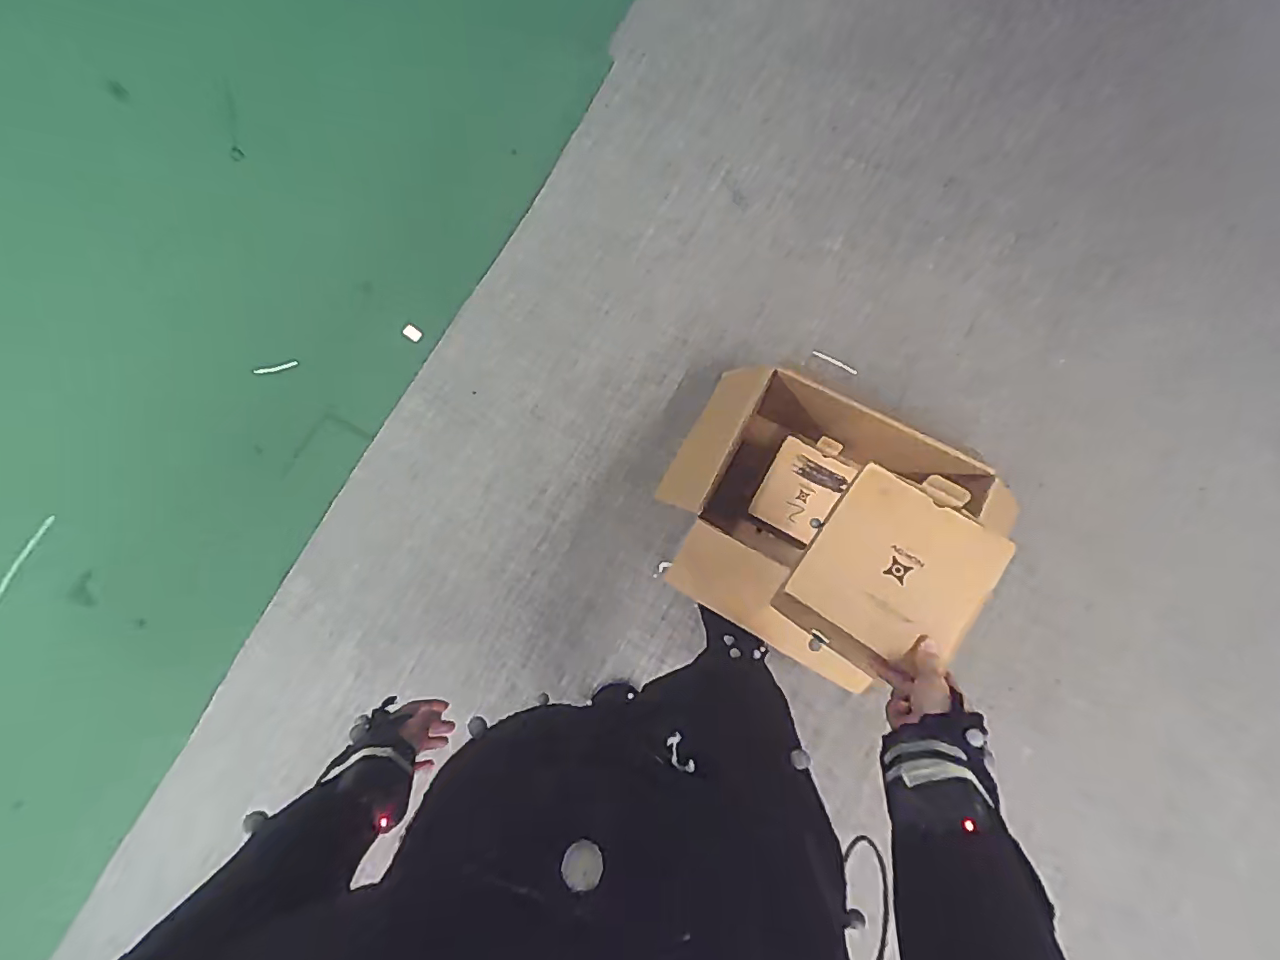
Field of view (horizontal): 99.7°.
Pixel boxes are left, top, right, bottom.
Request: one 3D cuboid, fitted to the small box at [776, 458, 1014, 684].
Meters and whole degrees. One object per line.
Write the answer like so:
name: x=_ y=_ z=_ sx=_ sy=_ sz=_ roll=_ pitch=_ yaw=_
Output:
small box: x=0.272 y=0.110 z=0.622 sx=0.168 sy=0.176 sz=0.179 roll=33 pitch=78 yaw=18
